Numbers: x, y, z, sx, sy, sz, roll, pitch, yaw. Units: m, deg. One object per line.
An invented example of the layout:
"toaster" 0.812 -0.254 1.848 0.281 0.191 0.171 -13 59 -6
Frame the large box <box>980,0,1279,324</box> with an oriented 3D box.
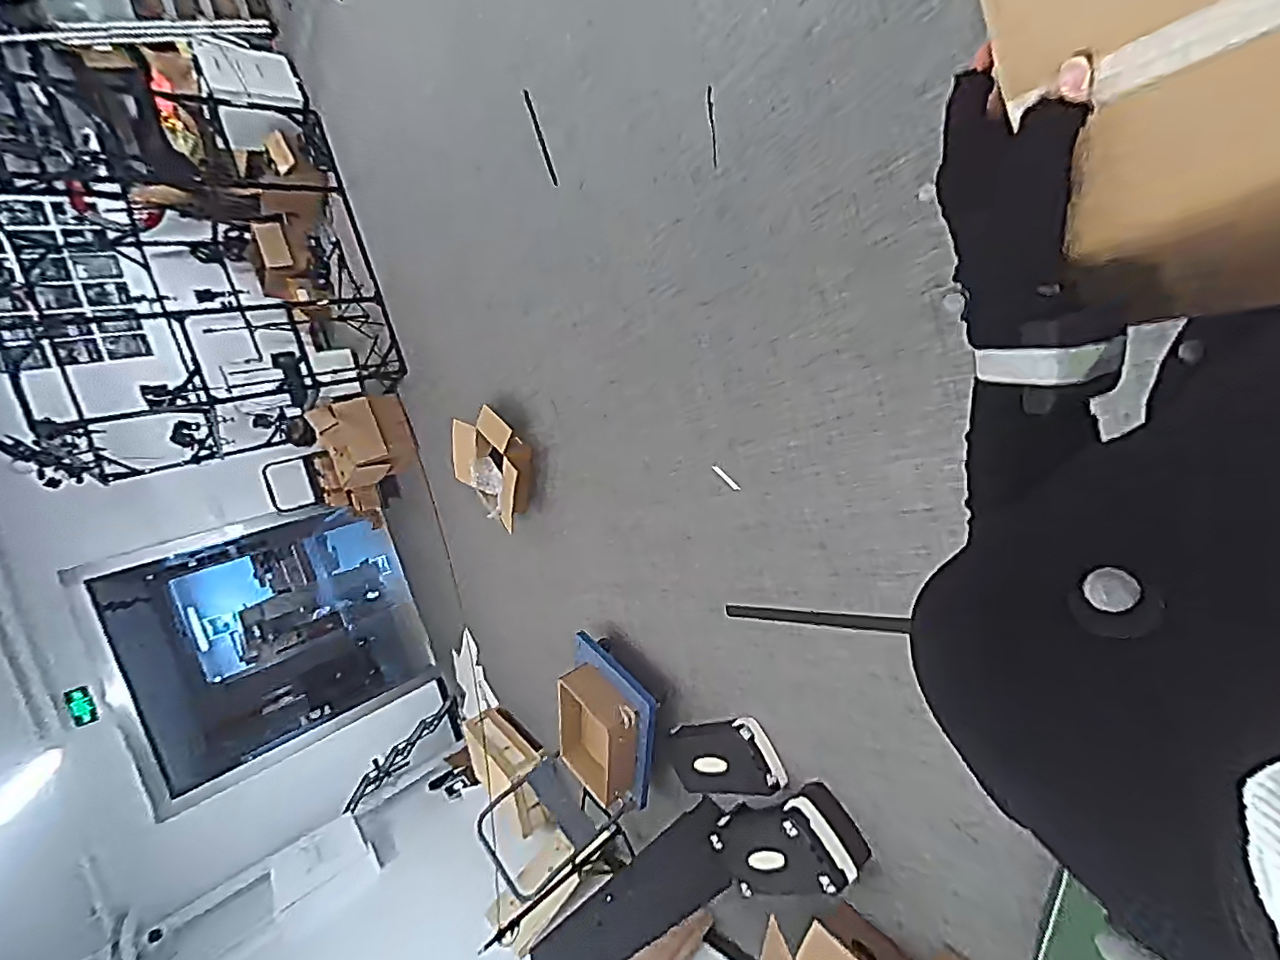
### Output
"large box" 0.428 -0.320 0.229 0.408 0.320 0.320 3 138 54
